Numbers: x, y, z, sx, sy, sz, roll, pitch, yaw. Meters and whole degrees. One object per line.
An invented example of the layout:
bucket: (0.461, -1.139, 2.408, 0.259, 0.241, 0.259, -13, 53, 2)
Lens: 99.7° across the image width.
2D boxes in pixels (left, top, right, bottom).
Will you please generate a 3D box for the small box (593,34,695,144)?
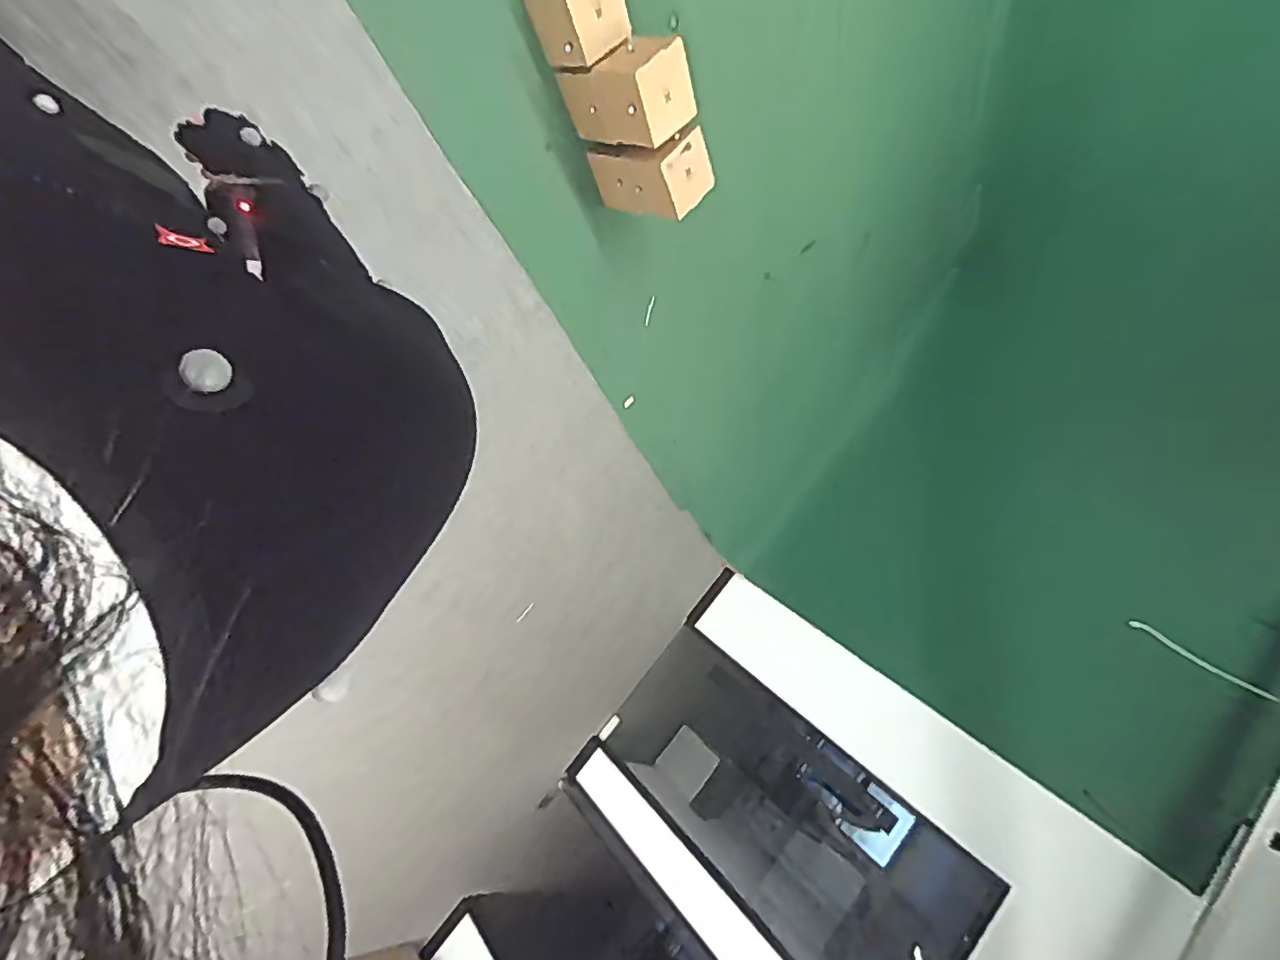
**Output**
small box: (0.011, -0.998, 1.378, 0.168, 0.176, 0.179, -45, 142, -14)

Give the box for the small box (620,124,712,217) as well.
small box: (0.075, -0.890, 1.536, 0.168, 0.176, 0.179, -49, 145, -10)
